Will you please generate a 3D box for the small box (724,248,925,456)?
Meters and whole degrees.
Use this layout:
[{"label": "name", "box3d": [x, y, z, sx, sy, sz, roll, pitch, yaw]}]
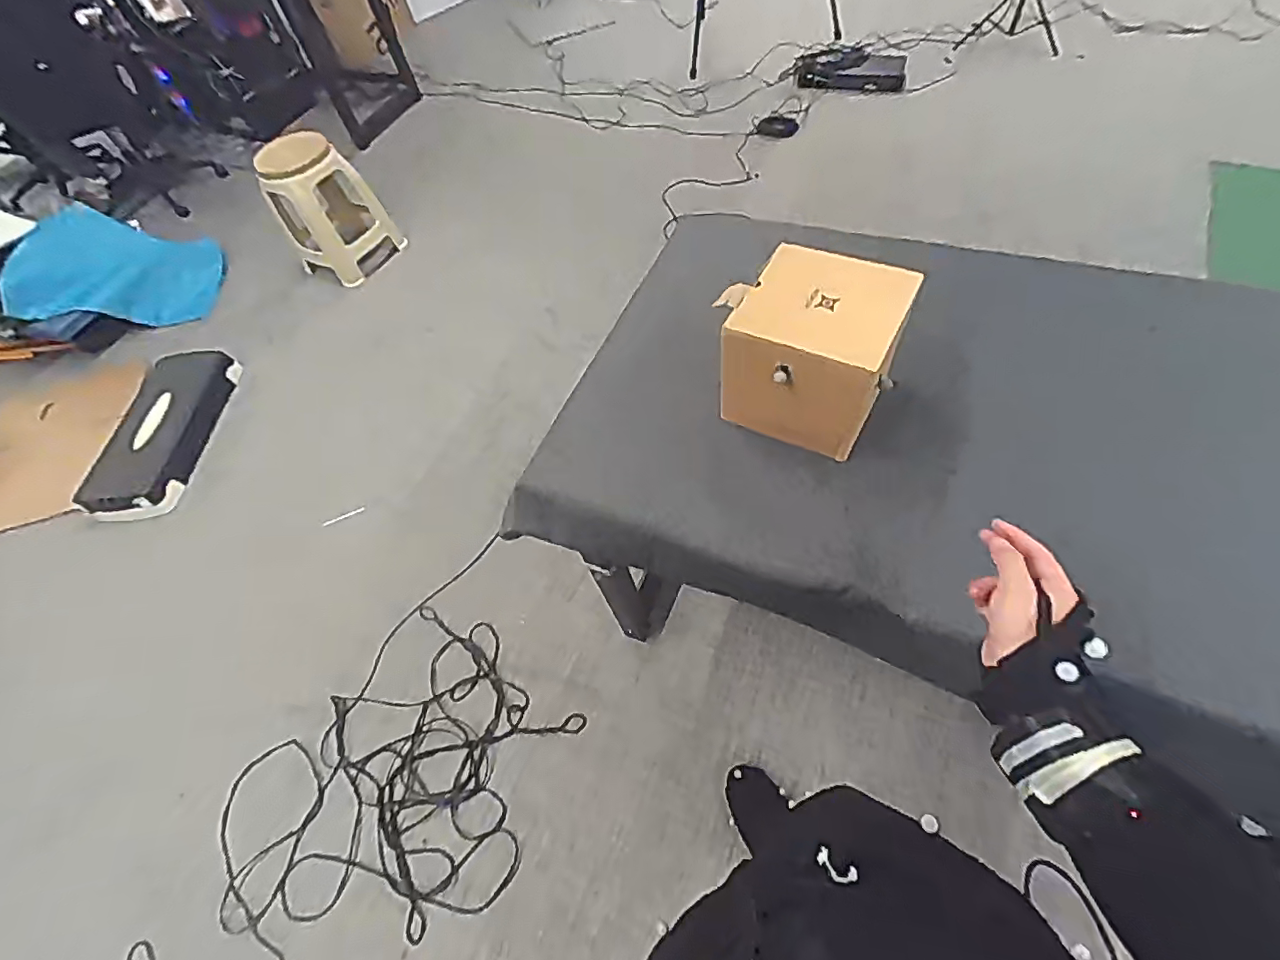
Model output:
[{"label": "small box", "box3d": [0.220, -0.154, 0.680, 0.179, 0.176, 0.168, 24, 64, 22]}]
